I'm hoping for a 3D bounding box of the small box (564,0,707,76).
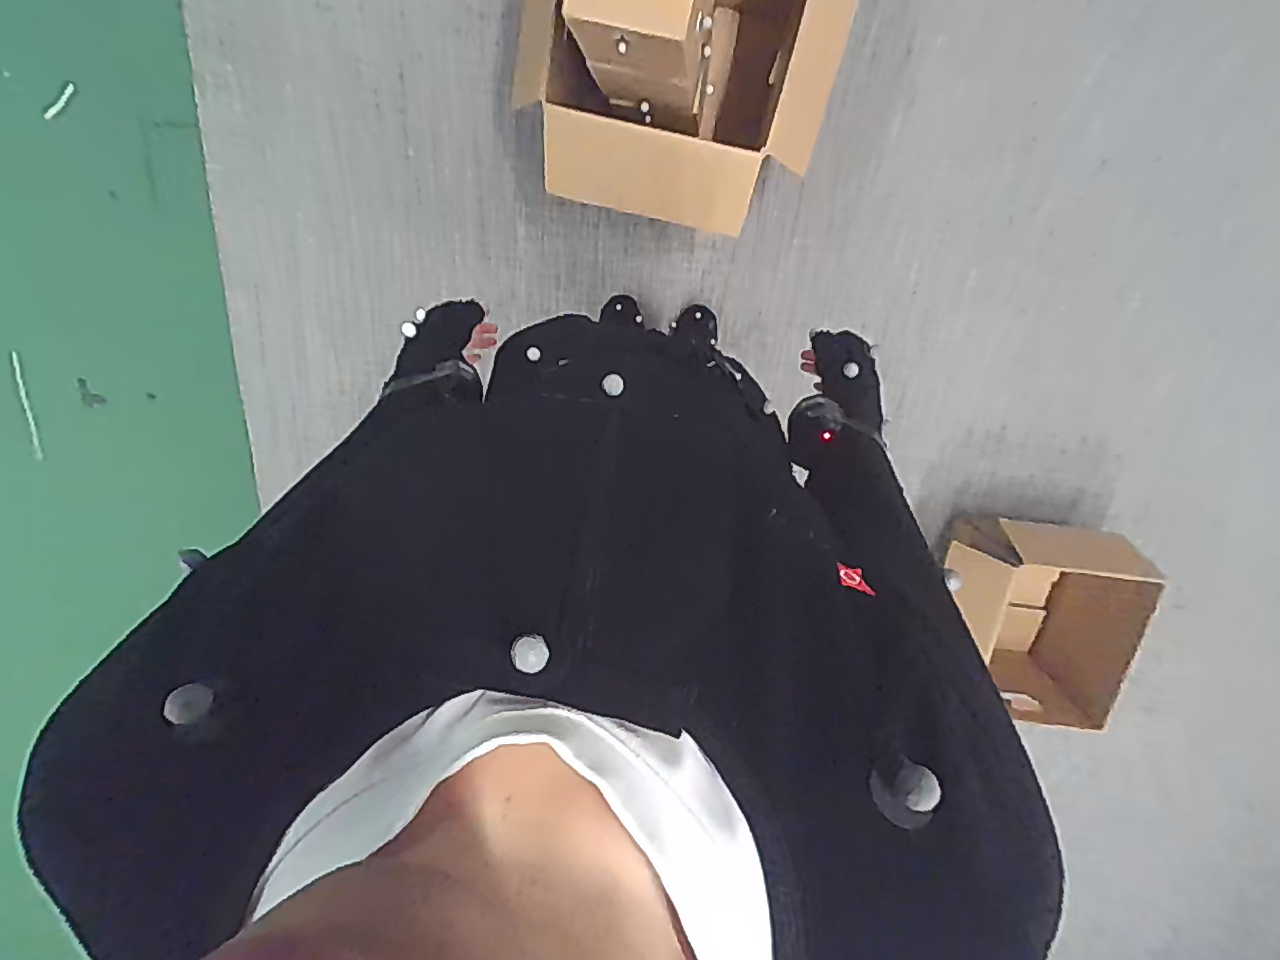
[{"bbox_3d":[0.005,-0.719,0.782,0.179,0.176,0.168,13,112,2],"label":"small box"}]
